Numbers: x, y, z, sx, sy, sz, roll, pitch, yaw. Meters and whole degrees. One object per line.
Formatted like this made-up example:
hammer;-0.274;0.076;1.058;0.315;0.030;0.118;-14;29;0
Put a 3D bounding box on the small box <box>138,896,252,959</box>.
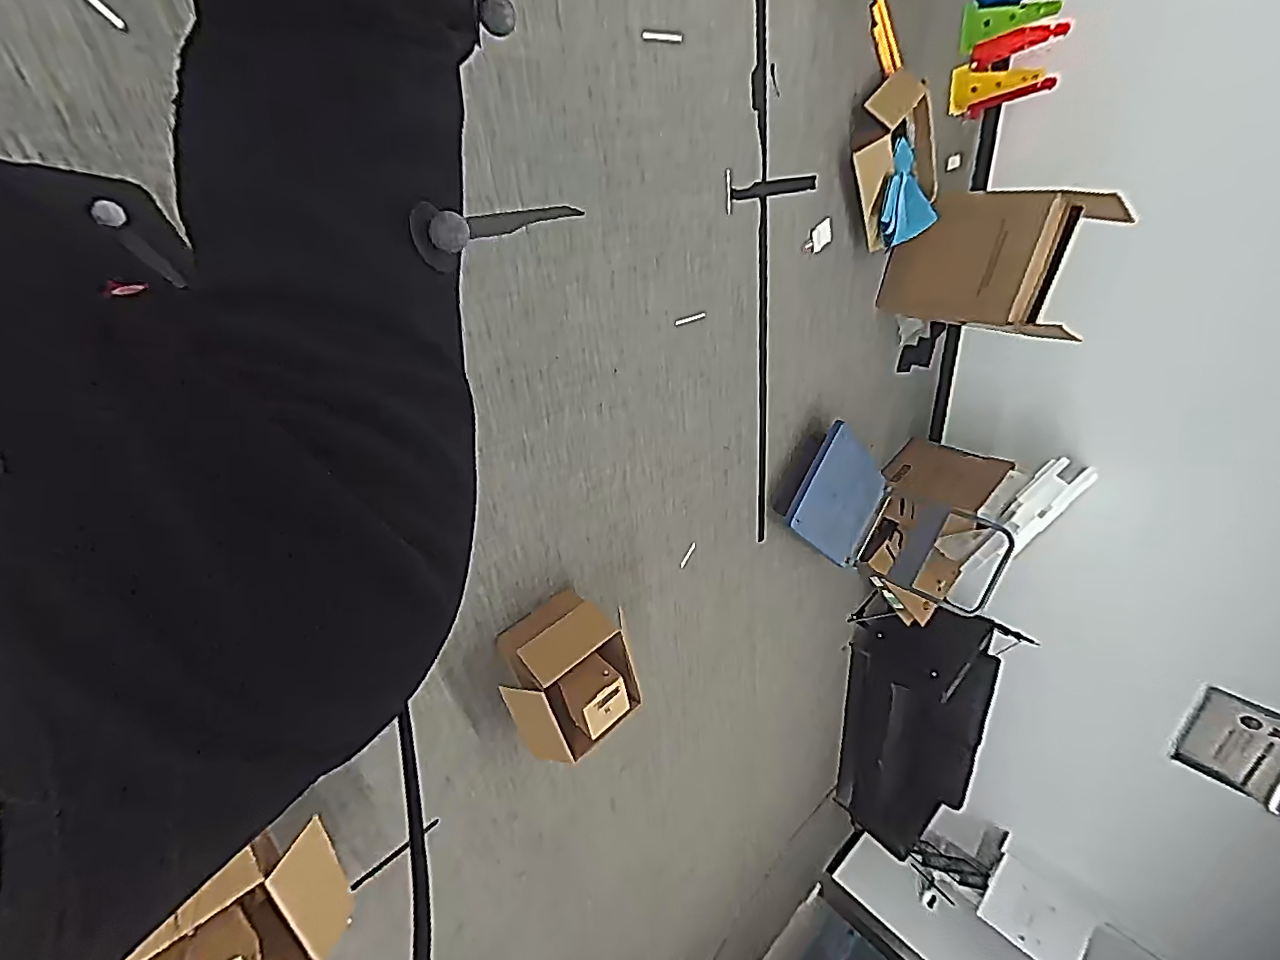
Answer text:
small box;-0.979;1.088;1.200;0.168;0.176;0.179;-19;121;-34
